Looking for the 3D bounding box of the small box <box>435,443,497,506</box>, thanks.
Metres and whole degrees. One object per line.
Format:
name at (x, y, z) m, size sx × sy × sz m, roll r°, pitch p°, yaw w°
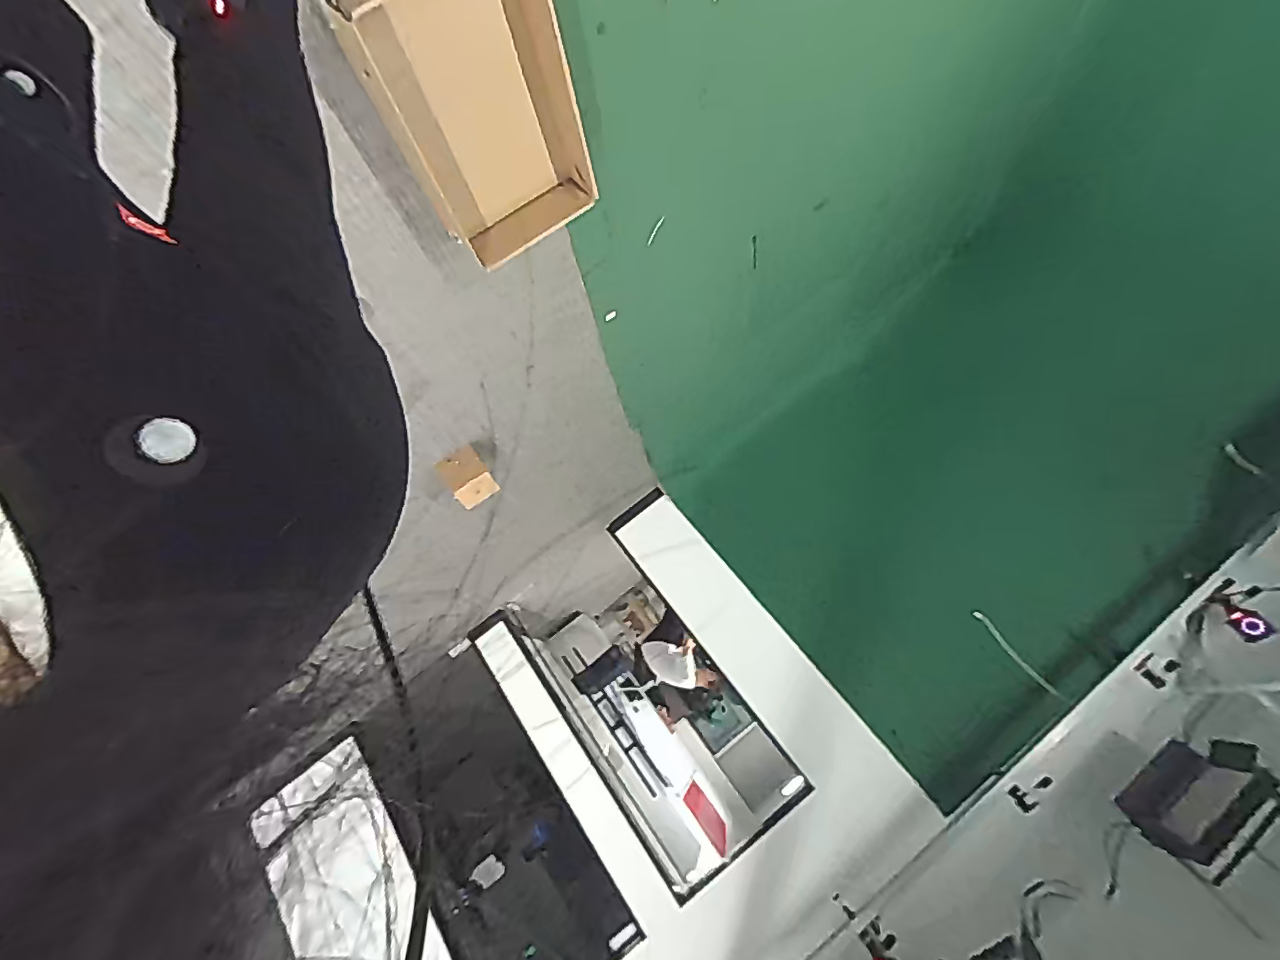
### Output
small box at (-0.738, -0.025, 2.296) m, size 0.168 × 0.176 × 0.179 m, roll -35°, pitch 157°, yaw -13°
